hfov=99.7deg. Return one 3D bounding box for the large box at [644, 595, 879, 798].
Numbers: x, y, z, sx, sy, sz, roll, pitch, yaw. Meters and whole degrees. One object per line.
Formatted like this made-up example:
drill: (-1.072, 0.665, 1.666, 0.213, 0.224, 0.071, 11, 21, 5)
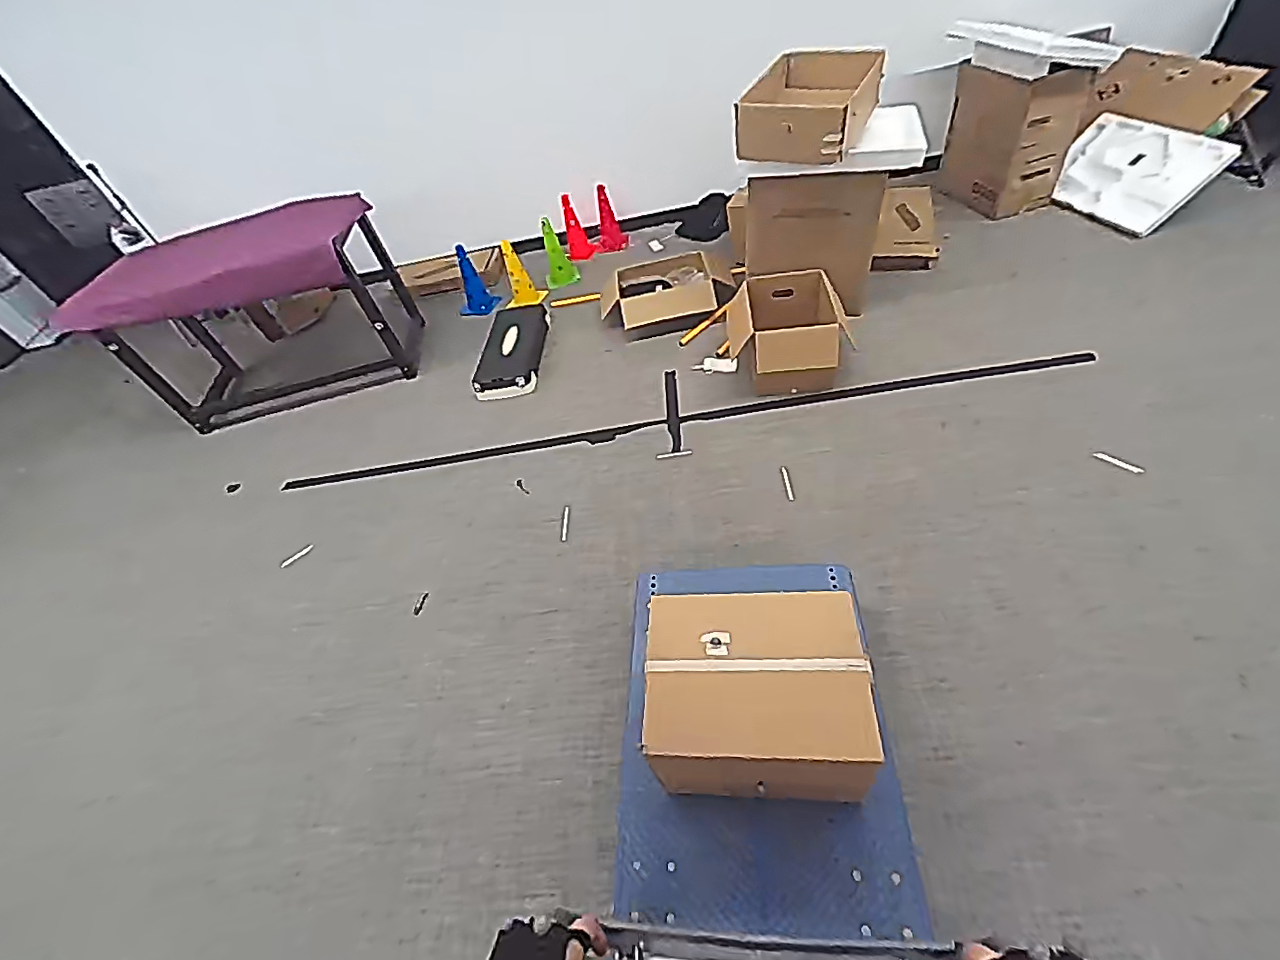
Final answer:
large box: (0.239, 0.460, 1.128, 0.408, 0.320, 0.320, -5, 47, 11)
